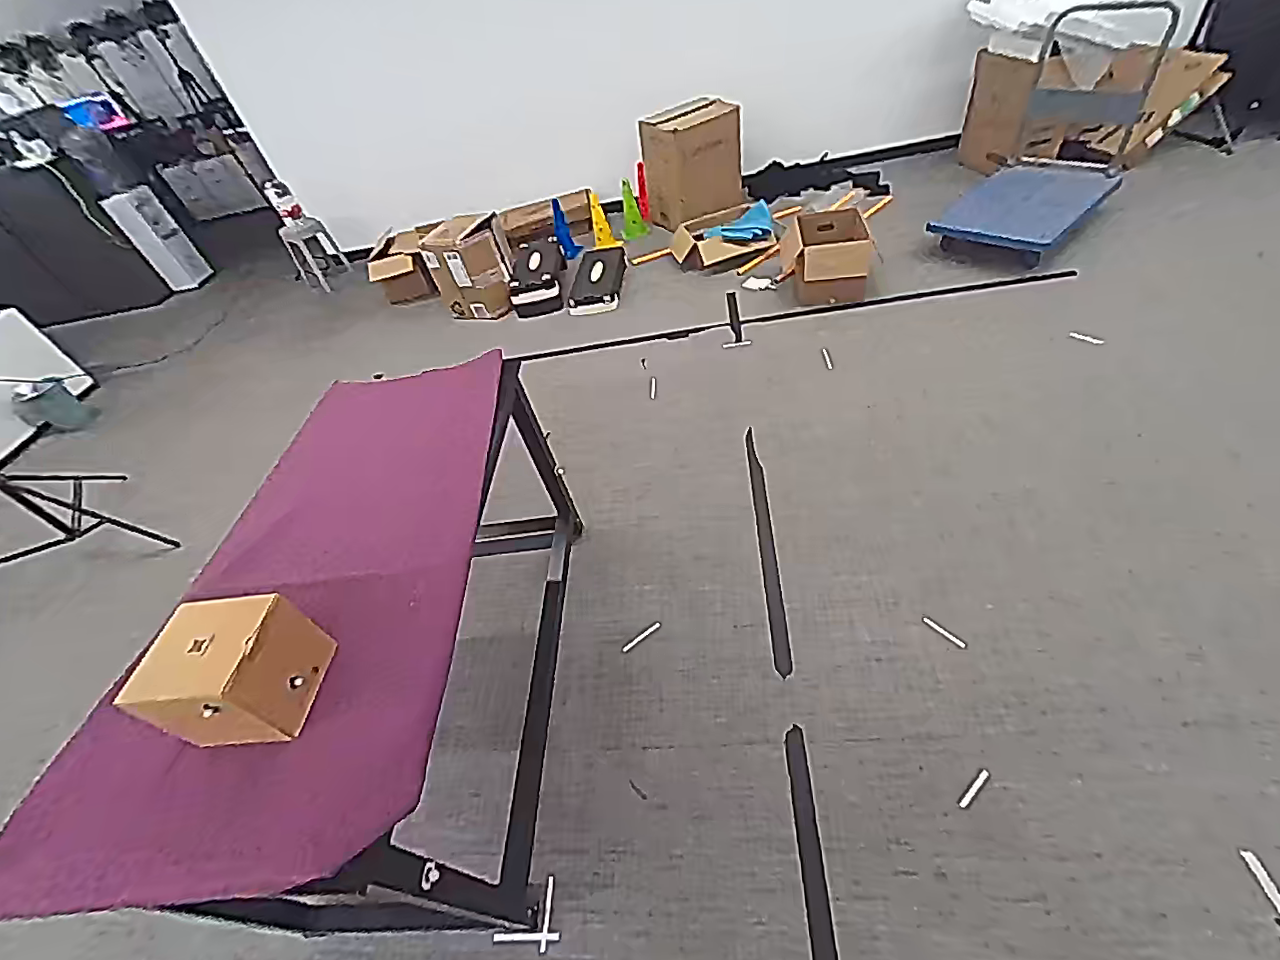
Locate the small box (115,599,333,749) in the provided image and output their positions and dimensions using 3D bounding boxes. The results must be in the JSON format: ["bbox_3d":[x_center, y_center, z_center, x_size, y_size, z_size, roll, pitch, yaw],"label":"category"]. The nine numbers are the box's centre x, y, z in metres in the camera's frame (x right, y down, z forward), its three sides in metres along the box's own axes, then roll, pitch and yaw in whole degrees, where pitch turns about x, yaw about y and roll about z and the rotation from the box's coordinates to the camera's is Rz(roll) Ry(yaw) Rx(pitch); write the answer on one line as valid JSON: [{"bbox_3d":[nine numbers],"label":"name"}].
[{"bbox_3d":[-0.638,0.311,0.857,0.179,0.176,0.168,-7,44,6],"label":"small box"}]
